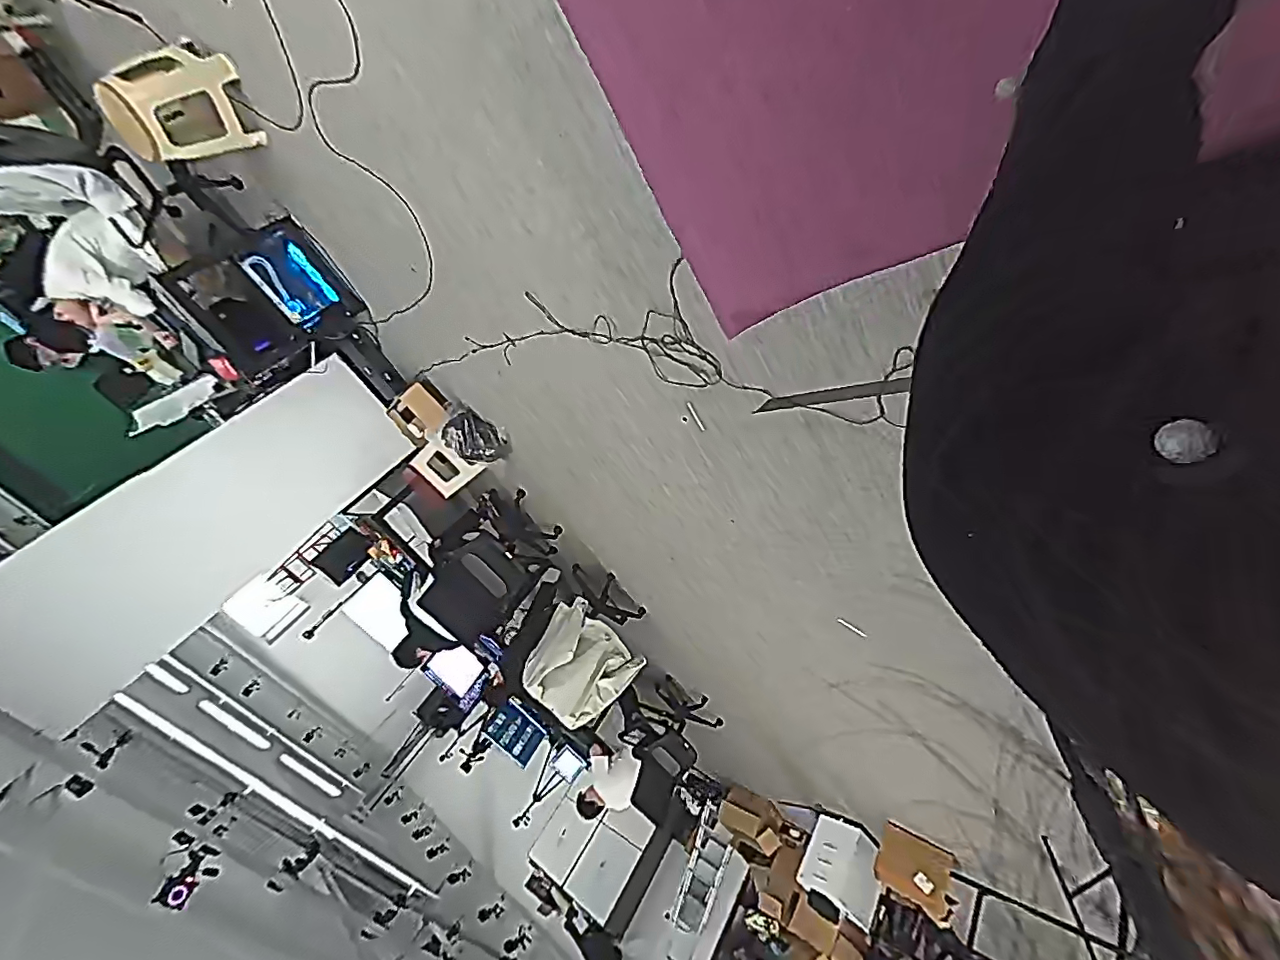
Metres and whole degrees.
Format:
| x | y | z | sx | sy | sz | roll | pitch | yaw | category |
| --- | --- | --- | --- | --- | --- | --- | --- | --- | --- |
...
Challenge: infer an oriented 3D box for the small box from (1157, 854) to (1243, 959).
| x | y | z | sx | sy | sz | roll | pitch | yaw | category |
| --- | --- | --- | --- | --- | --- | --- | --- | --- | --- |
| 1.624 | 1.239 | 1.567 | 0.168 | 0.176 | 0.179 | -3 | 127 | 48 | small box |

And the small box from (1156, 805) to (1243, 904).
| x | y | z | sx | sy | sz | roll | pitch | yaw | category |
| --- | --- | --- | --- | --- | --- | --- | --- | --- | --- |
| 1.715 | 1.140 | 1.658 | 0.179 | 0.176 | 0.168 | -3 | 128 | 49 | small box |
